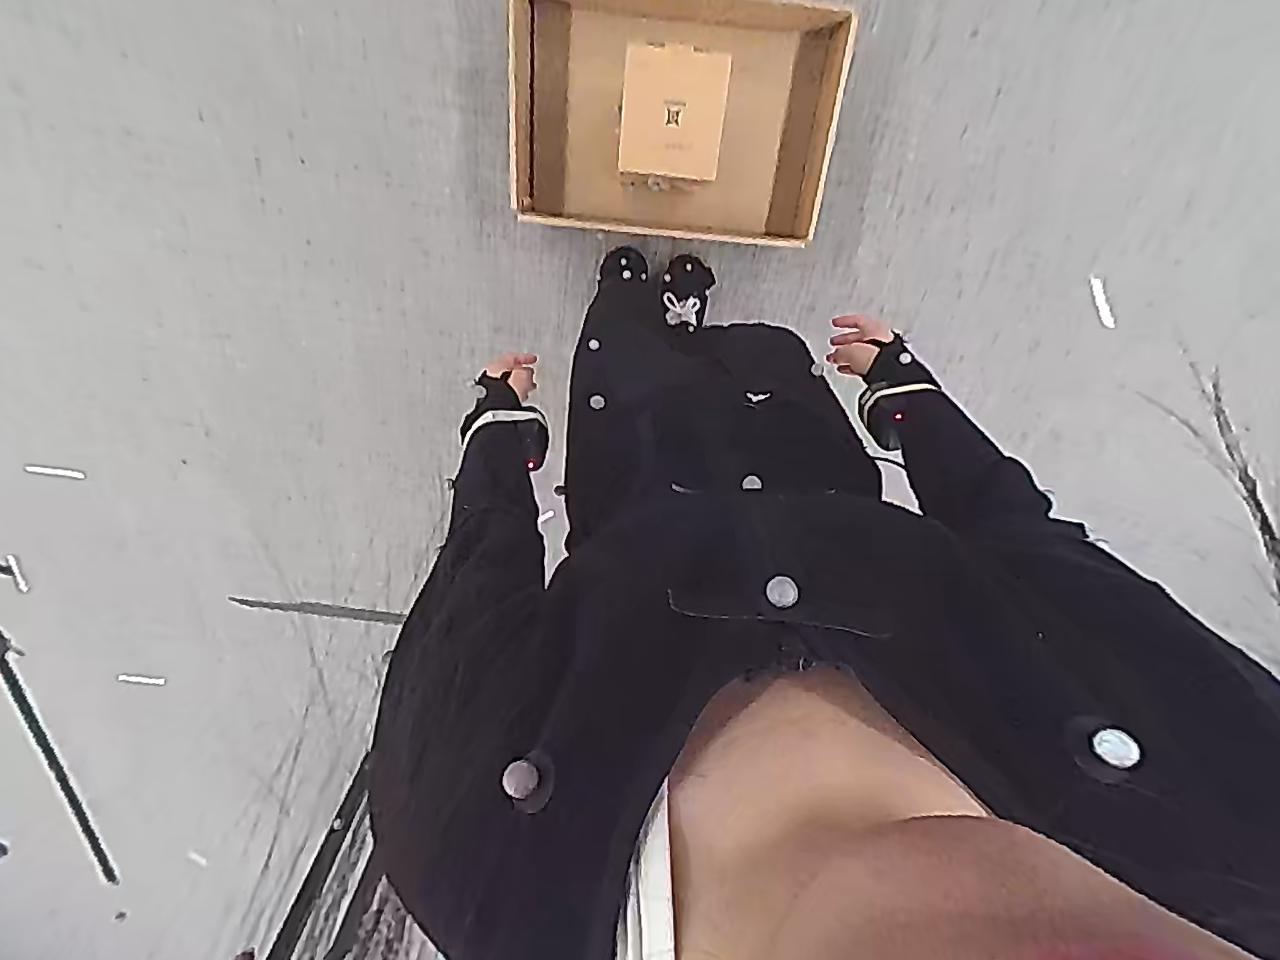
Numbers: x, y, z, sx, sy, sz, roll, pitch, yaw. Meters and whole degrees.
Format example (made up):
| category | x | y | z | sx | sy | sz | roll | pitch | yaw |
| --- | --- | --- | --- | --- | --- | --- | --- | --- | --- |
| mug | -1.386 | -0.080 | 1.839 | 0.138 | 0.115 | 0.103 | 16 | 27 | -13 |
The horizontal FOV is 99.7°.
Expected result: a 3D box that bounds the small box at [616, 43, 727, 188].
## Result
| category | x | y | z | sx | sy | sz | roll | pitch | yaw |
| --- | --- | --- | --- | --- | --- | --- | --- | --- | --- |
| small box | 0.046 | -0.618 | 0.939 | 0.168 | 0.176 | 0.179 | 4 | 116 | -2 |
